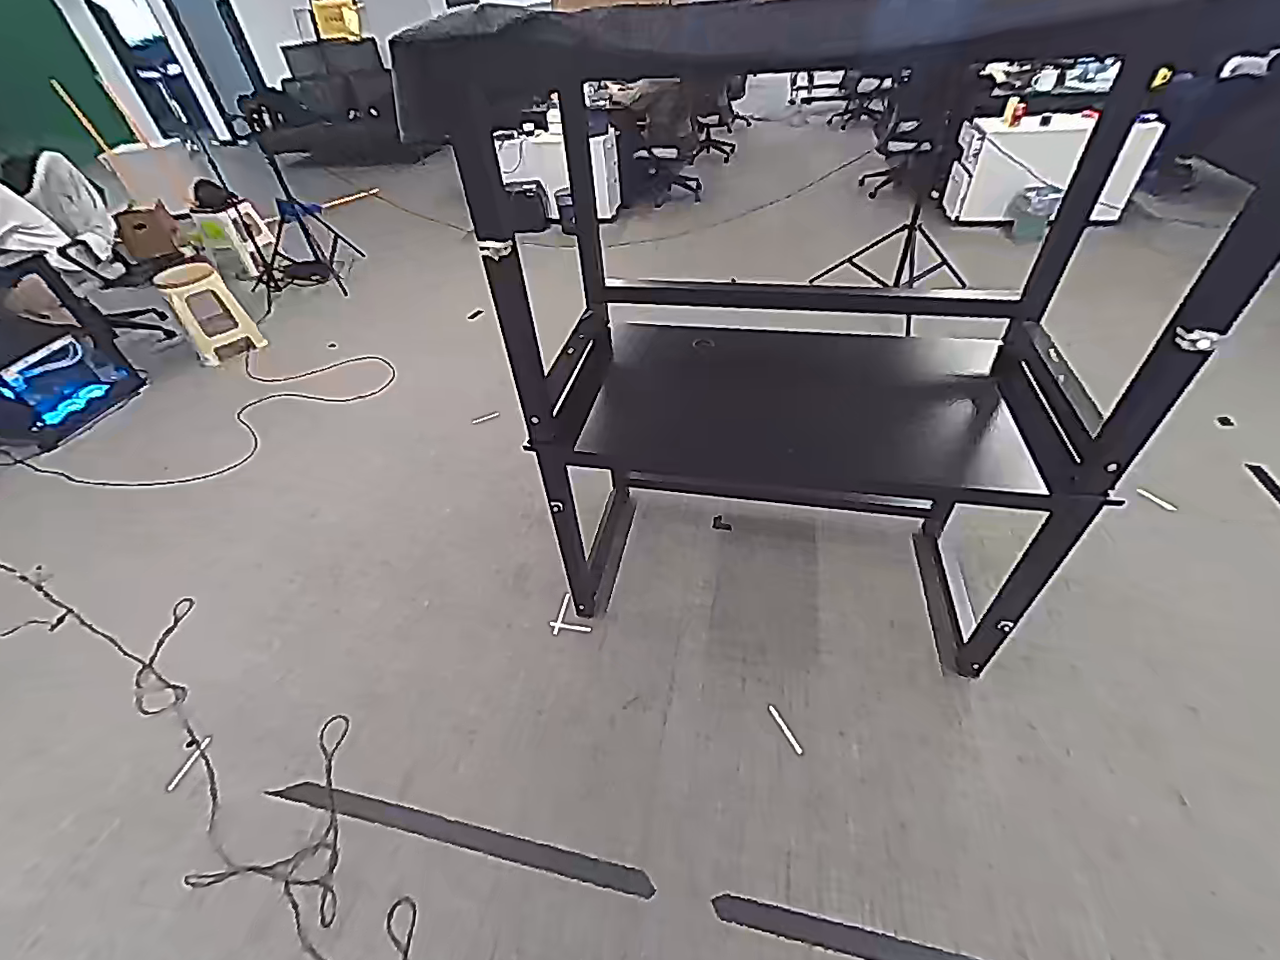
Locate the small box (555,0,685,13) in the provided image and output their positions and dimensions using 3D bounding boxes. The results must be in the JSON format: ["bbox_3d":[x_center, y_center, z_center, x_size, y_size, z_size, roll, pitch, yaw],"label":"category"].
[{"bbox_3d":[-0.025,-0.742,0.726,0.168,0.176,0.179,6,43,10],"label":"small box"}]
